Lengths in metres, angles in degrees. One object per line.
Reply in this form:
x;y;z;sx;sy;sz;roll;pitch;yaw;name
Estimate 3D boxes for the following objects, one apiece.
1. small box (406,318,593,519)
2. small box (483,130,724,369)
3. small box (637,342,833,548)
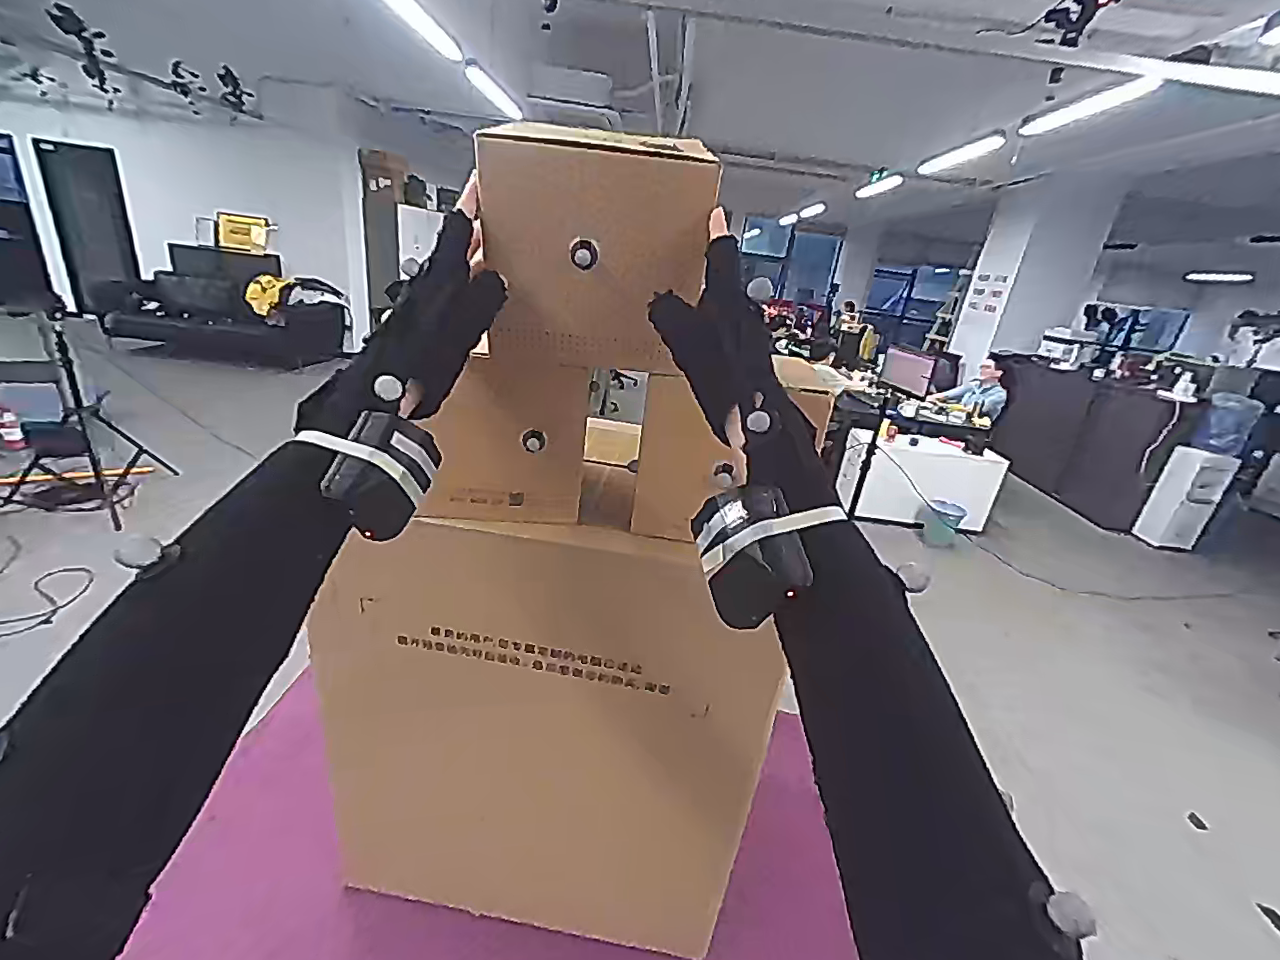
-0.139;-0.069;0.581;0.168;0.176;0.179;5;22;-9;small box
-0.032;-0.211;0.495;0.179;0.176;0.168;4;33;-3;small box
0.092;-0.045;0.585;0.168;0.176;0.179;9;24;3;small box
